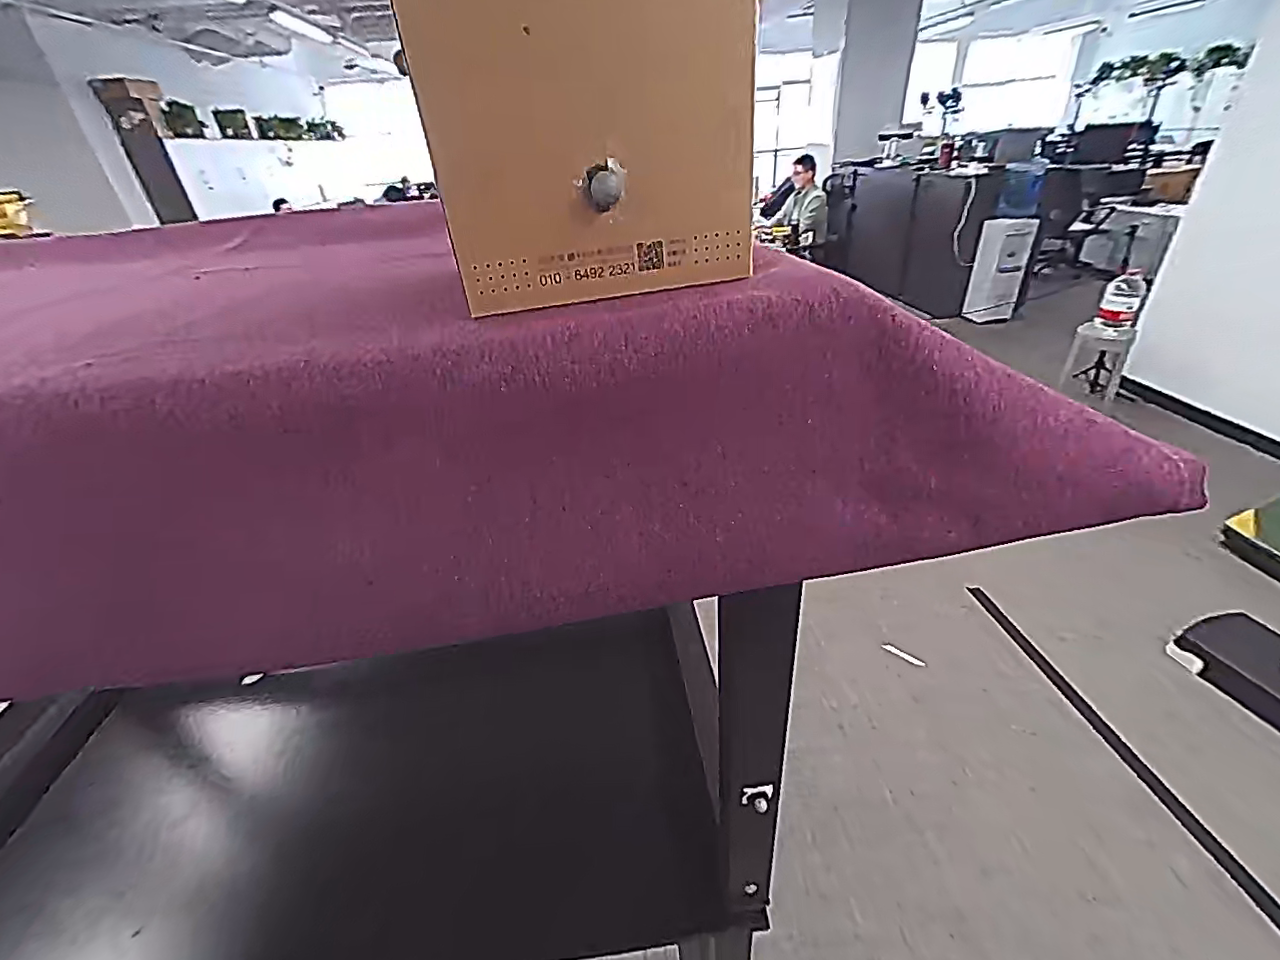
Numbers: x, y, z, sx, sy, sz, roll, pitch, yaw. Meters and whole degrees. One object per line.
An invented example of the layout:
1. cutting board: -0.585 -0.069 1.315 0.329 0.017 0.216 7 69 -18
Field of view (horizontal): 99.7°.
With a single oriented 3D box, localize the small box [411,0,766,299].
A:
1. small box: -0.035 -0.218 0.334 0.168 0.176 0.179 -11 32 -9
